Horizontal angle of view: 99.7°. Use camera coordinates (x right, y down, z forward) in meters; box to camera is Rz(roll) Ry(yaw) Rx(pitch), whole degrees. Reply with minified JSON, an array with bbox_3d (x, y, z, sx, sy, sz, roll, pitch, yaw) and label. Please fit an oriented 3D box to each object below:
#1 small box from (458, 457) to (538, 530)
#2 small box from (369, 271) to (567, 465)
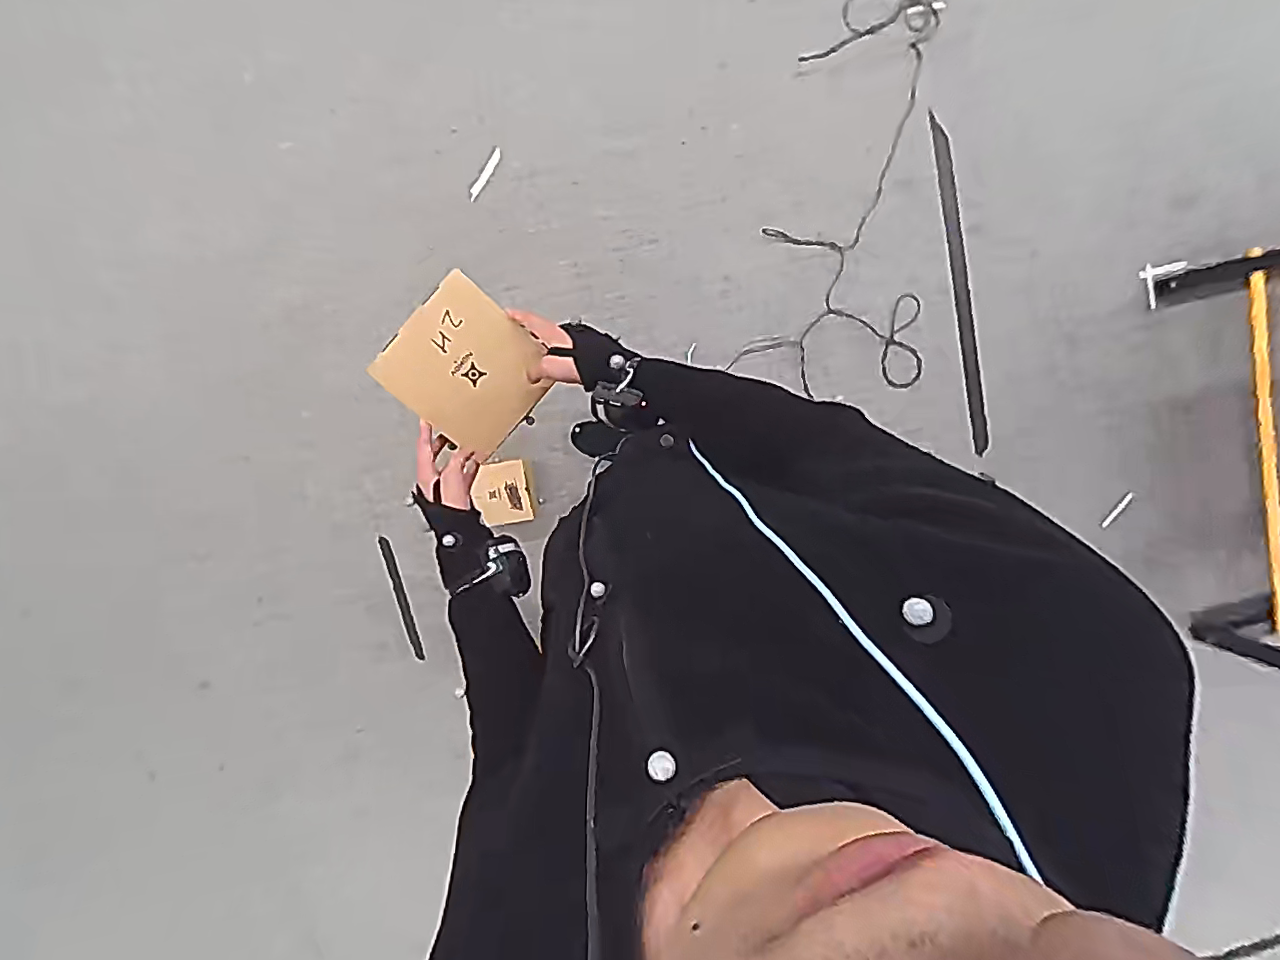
[{"bbox_3d":[-0.388,0.032,1.515,0.179,0.176,0.168,-10,96,-2],"label":"small box"},{"bbox_3d":[-0.216,-0.147,0.729,0.179,0.176,0.168,43,92,-13],"label":"small box"}]
